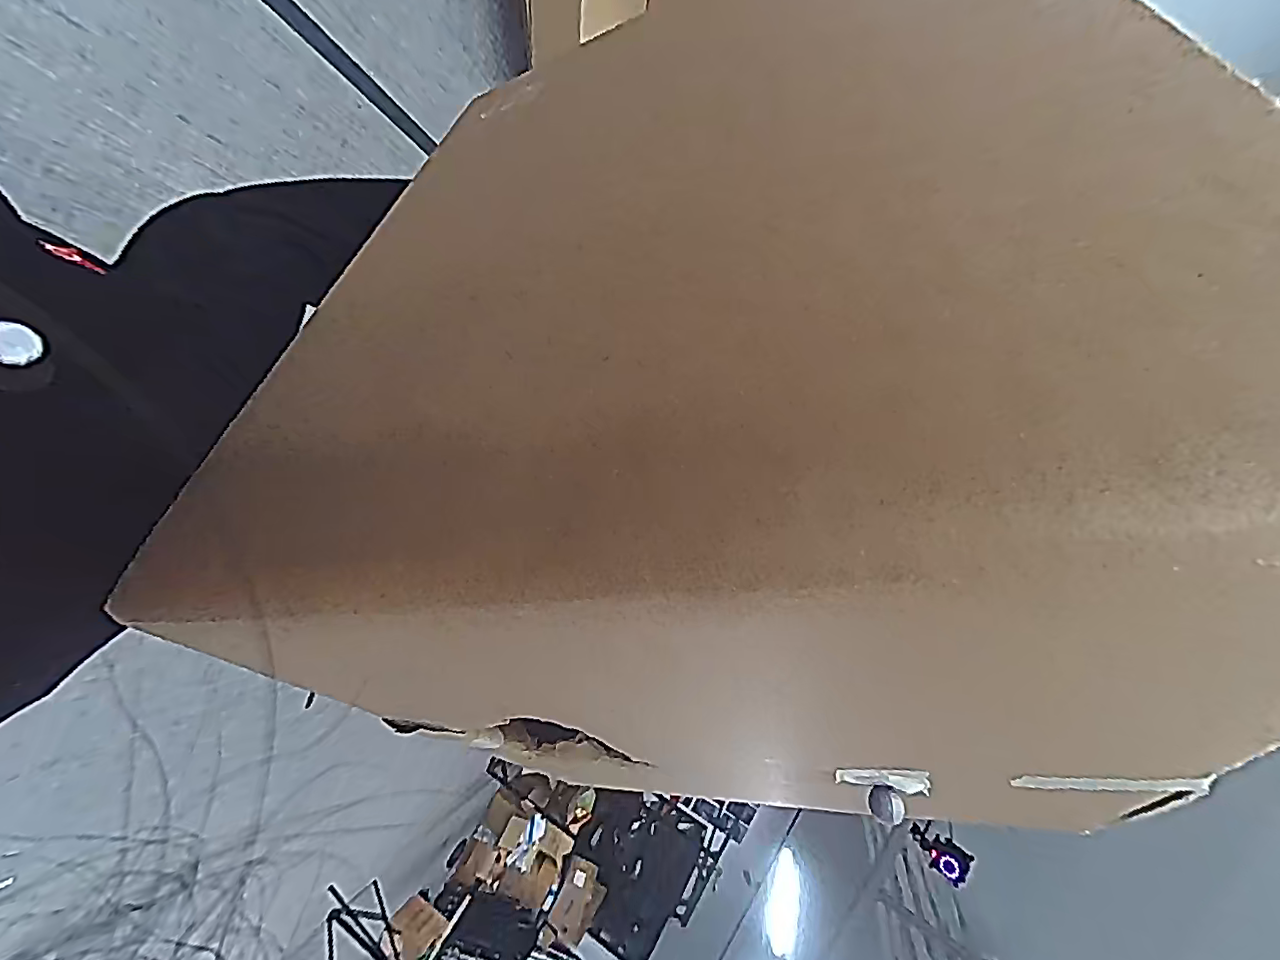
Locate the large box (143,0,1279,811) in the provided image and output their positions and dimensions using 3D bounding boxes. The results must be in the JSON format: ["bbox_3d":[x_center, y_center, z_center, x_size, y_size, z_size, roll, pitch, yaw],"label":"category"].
[{"bbox_3d":[0.053,-0.057,0.343,0.320,0.320,0.408,58,33,-47],"label":"large box"}]
